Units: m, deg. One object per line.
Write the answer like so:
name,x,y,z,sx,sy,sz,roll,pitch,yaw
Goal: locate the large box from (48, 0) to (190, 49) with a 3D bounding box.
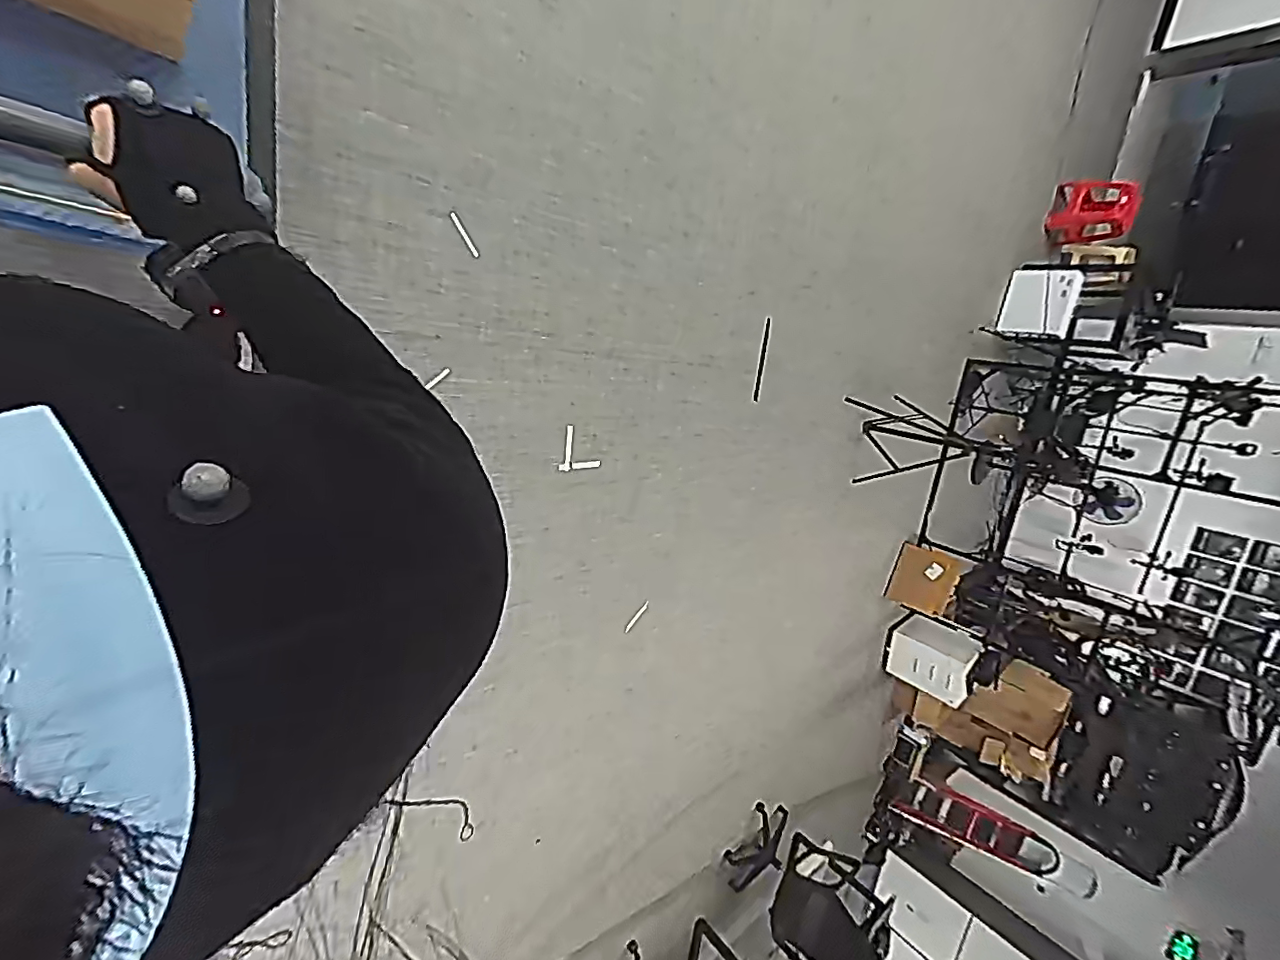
large box,-0.791,-0.813,0.634,0.408,0.320,0.320,1,104,-42
